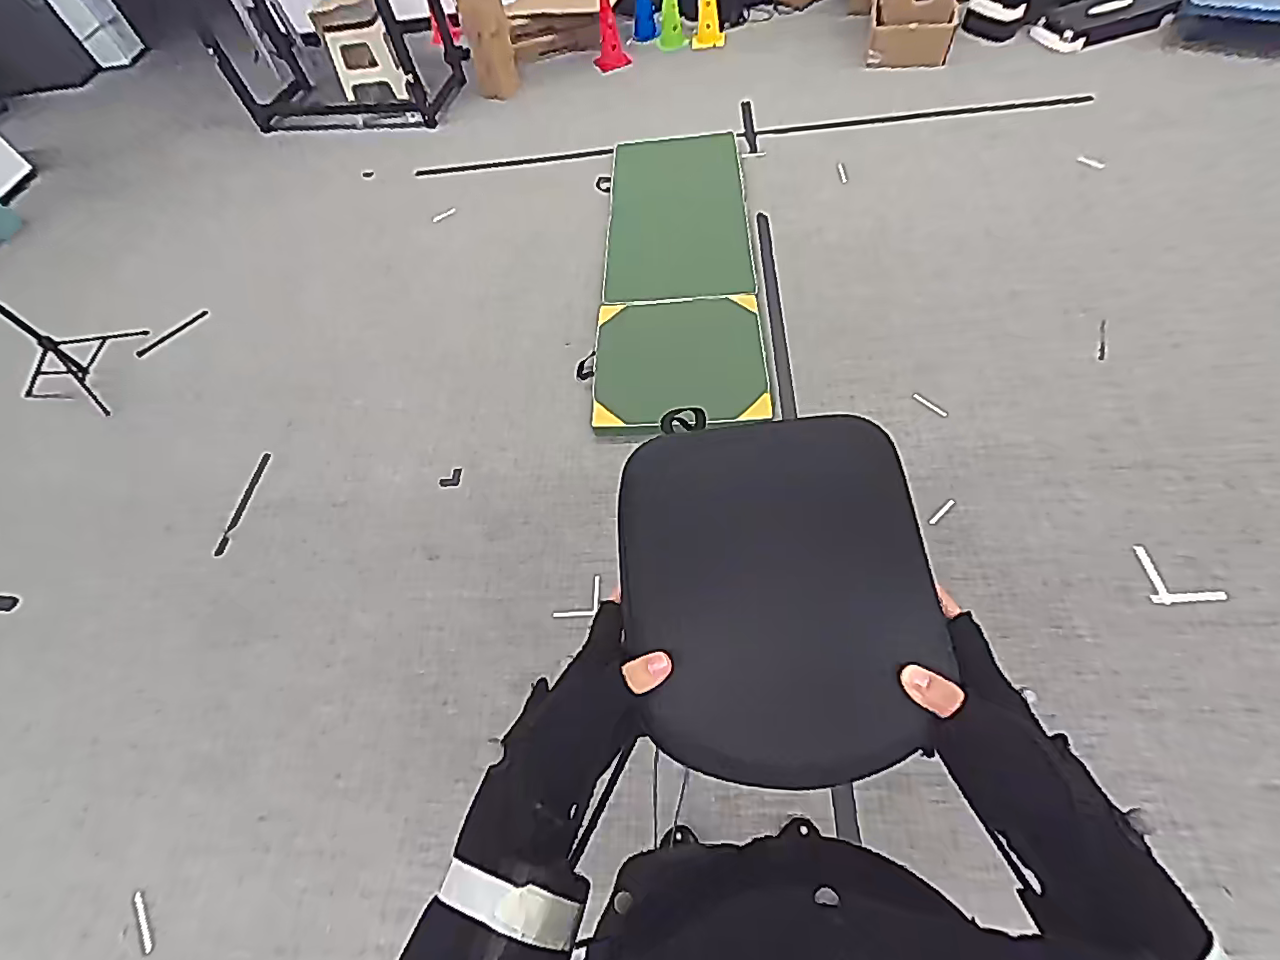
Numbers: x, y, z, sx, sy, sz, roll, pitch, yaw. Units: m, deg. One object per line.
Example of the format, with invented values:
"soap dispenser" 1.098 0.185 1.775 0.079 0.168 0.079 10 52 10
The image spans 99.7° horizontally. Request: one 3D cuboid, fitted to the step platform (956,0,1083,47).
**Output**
"step platform" 2.120 -2.635 2.974 0.684 0.204 0.286 -28 59 -9
